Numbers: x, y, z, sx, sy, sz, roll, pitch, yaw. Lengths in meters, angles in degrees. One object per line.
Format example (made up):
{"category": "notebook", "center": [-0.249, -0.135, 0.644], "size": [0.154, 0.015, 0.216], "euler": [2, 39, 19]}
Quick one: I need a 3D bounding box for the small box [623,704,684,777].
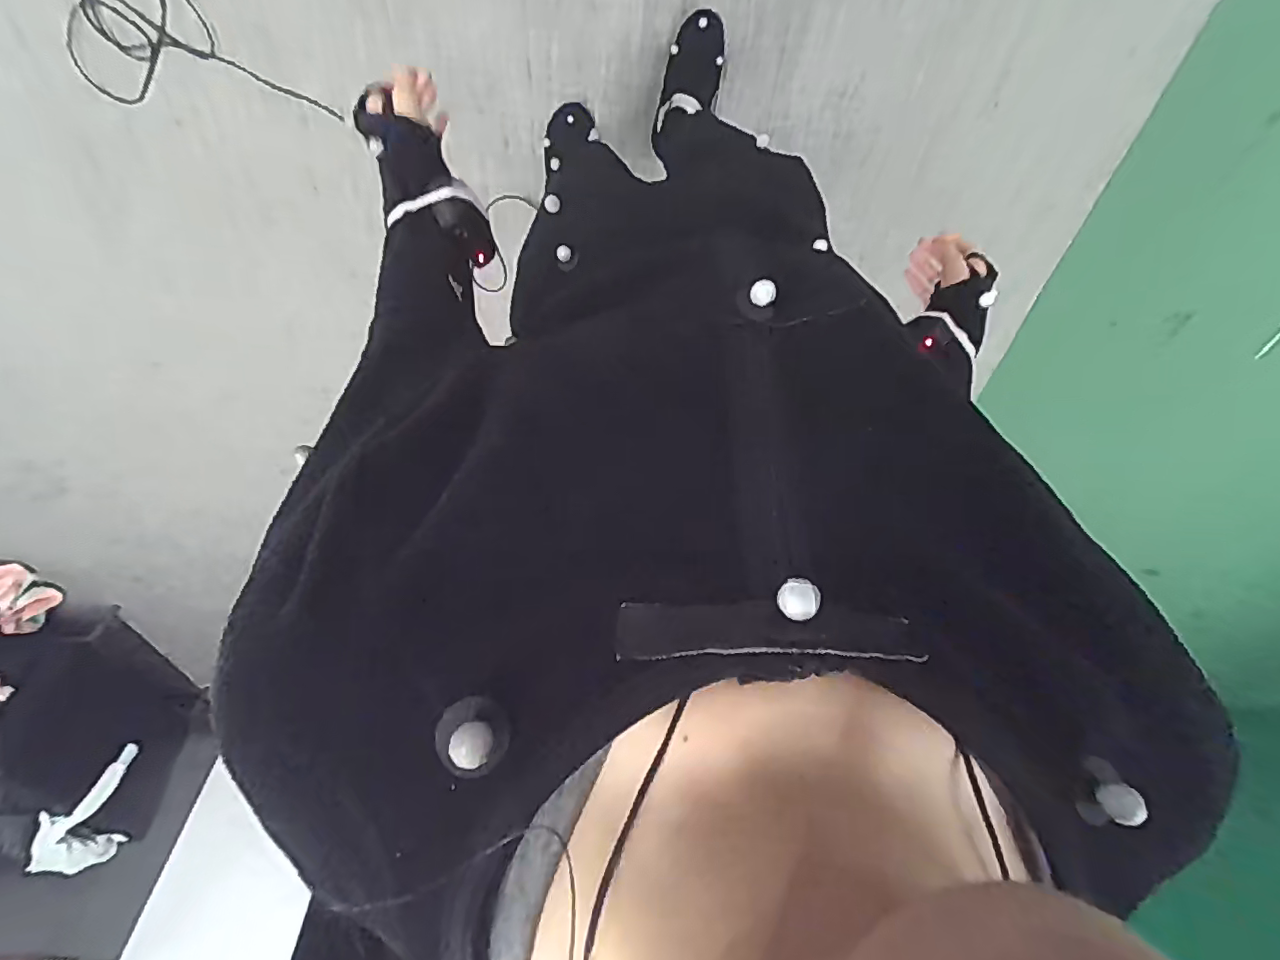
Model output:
{"category": "small box", "center": [0.037, 0.836, 1.740], "size": [0.179, 0.176, 0.168], "euler": [2, 134, -5]}
